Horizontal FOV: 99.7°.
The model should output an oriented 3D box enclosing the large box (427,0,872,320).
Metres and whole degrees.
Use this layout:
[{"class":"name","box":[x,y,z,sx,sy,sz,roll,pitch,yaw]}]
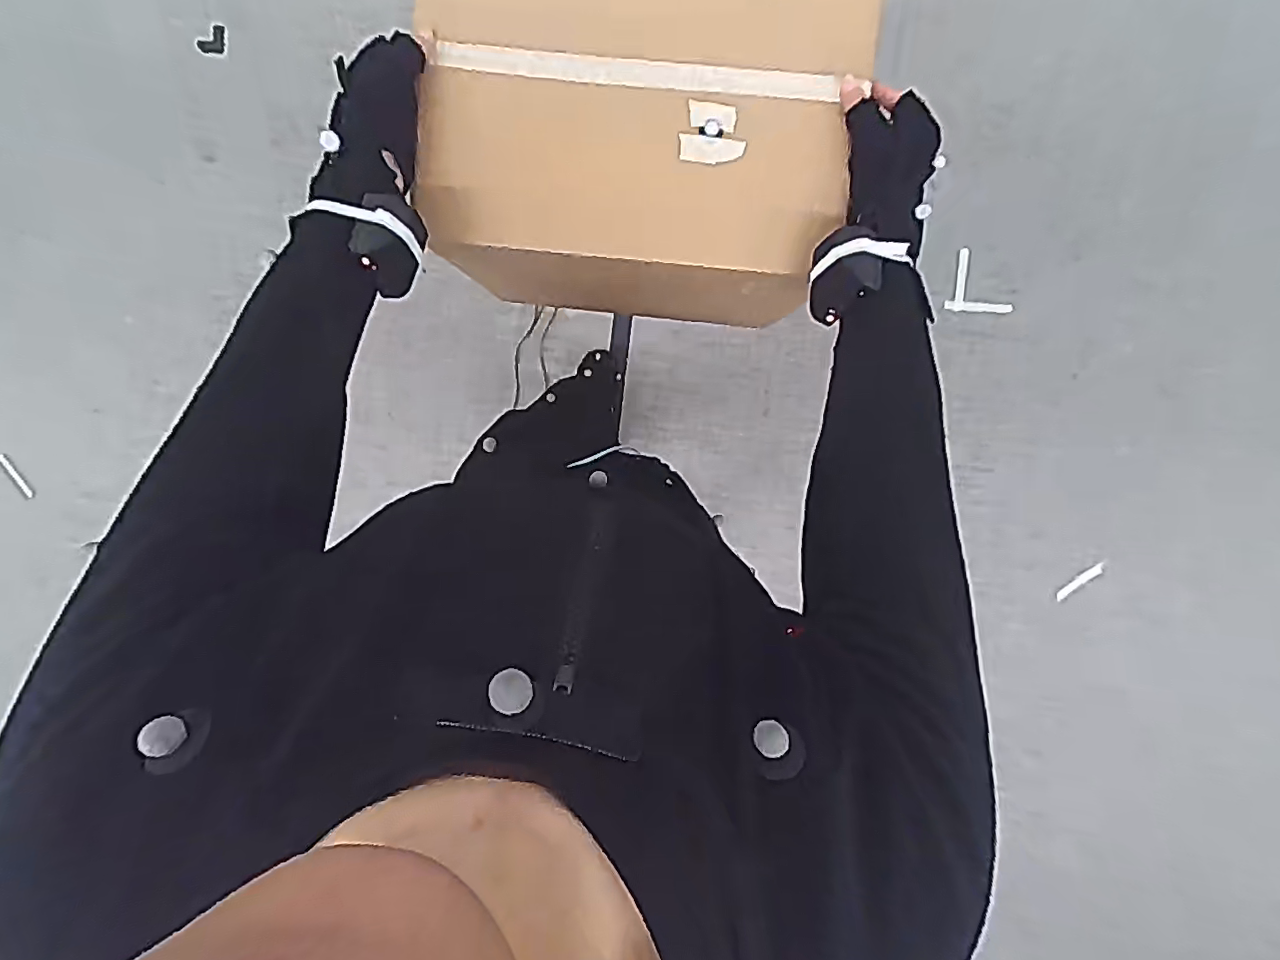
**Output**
[{"class":"large box","box":[0.005,-0.385,0.643,0.408,0.320,0.320,5,98,-1]}]
